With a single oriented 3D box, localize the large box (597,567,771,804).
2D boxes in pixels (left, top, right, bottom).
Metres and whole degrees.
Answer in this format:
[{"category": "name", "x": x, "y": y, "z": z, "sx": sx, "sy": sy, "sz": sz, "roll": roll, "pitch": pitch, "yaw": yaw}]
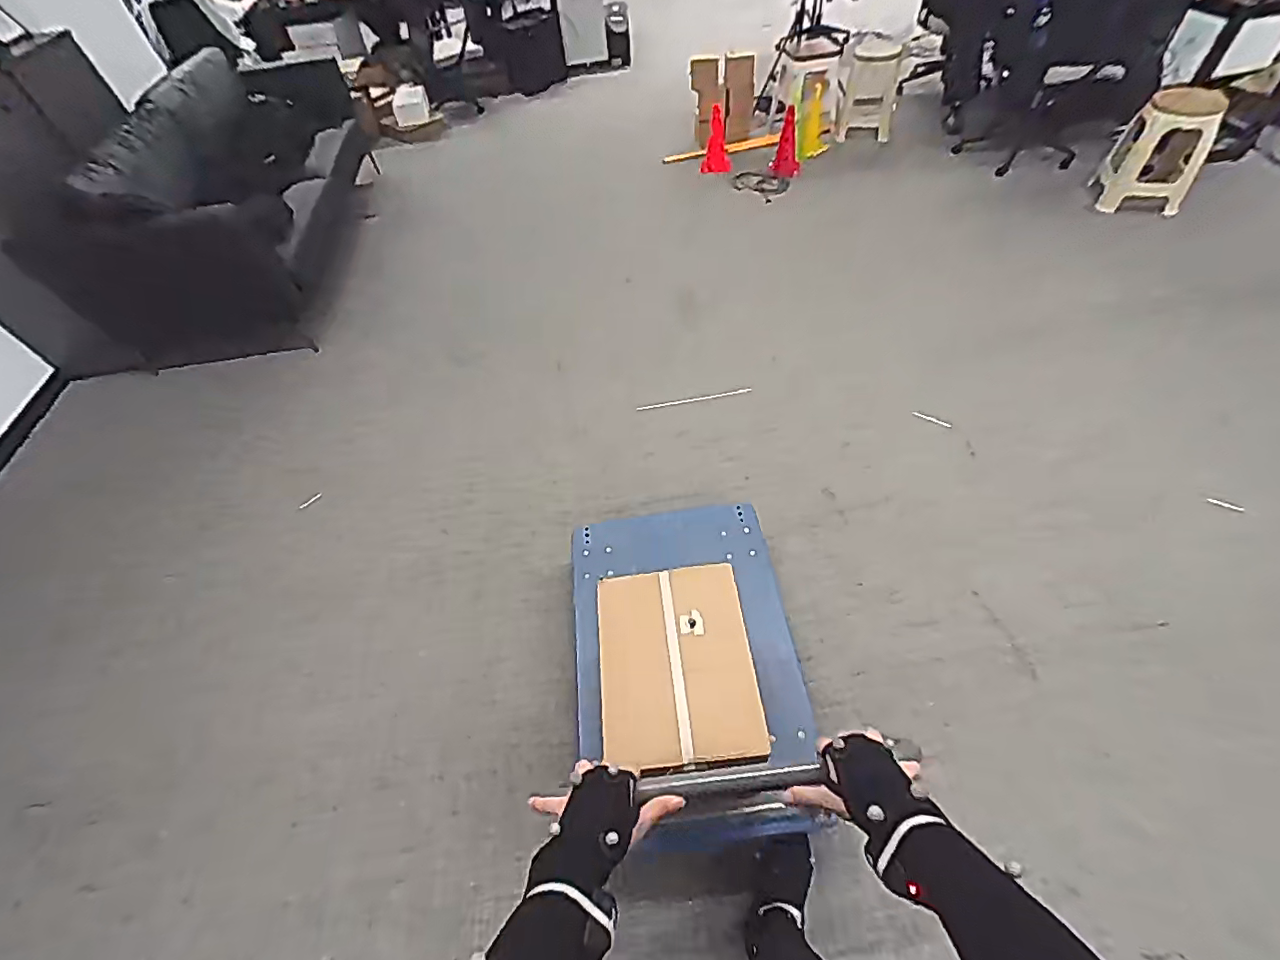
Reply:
[{"category": "large box", "x": 0.088, "y": 0.467, "z": 1.234, "sx": 0.320, "sy": 0.320, "sz": 0.408, "roll": -8, "pitch": 50, "yaw": 0}]
